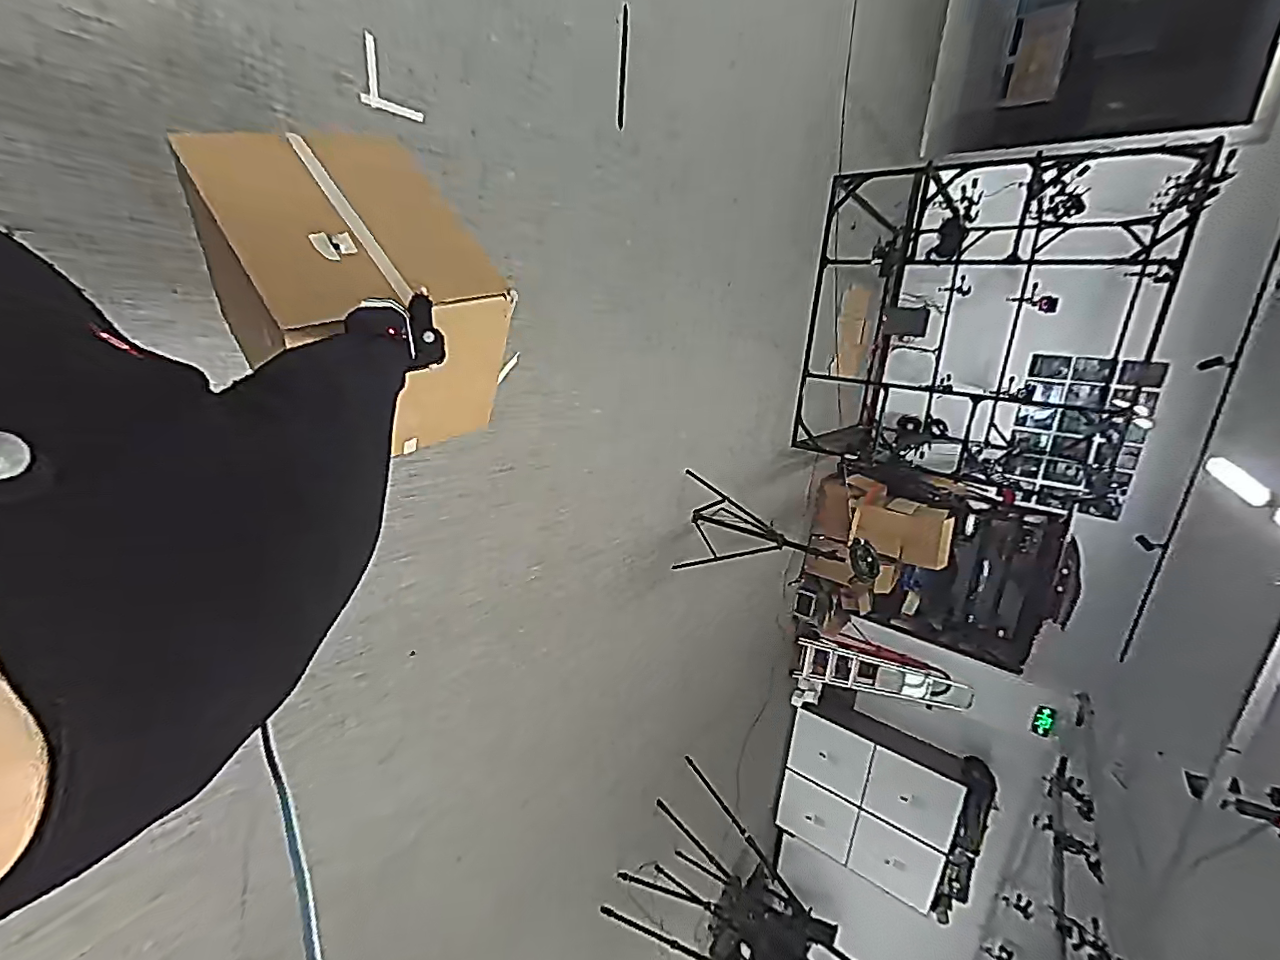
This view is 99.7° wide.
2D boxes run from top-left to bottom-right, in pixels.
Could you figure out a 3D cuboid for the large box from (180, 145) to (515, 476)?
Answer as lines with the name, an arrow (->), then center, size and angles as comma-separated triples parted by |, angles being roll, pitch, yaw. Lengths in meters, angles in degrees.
large box -> -0.472, -0.284, 0.902 | 0.320, 0.408, 0.320 | -26, 160, -36
